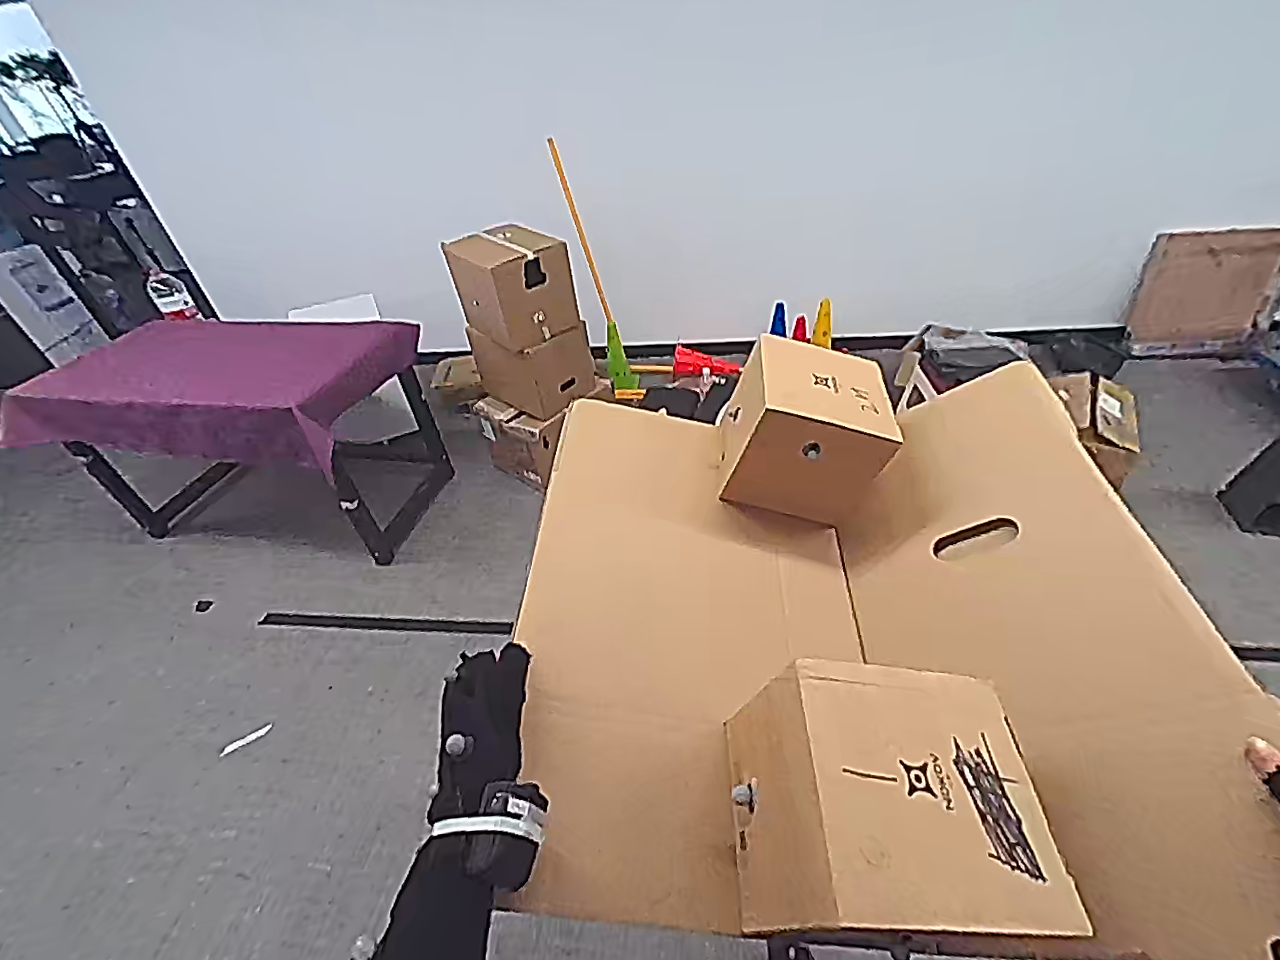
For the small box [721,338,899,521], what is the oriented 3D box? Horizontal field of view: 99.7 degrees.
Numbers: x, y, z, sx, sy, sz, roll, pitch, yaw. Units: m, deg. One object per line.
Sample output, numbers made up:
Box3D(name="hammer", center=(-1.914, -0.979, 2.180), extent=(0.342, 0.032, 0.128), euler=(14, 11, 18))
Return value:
Box3D(name="small box", center=(0.218, -0.064, 0.749), extent=(0.179, 0.176, 0.168), euler=(14, 47, -5))
